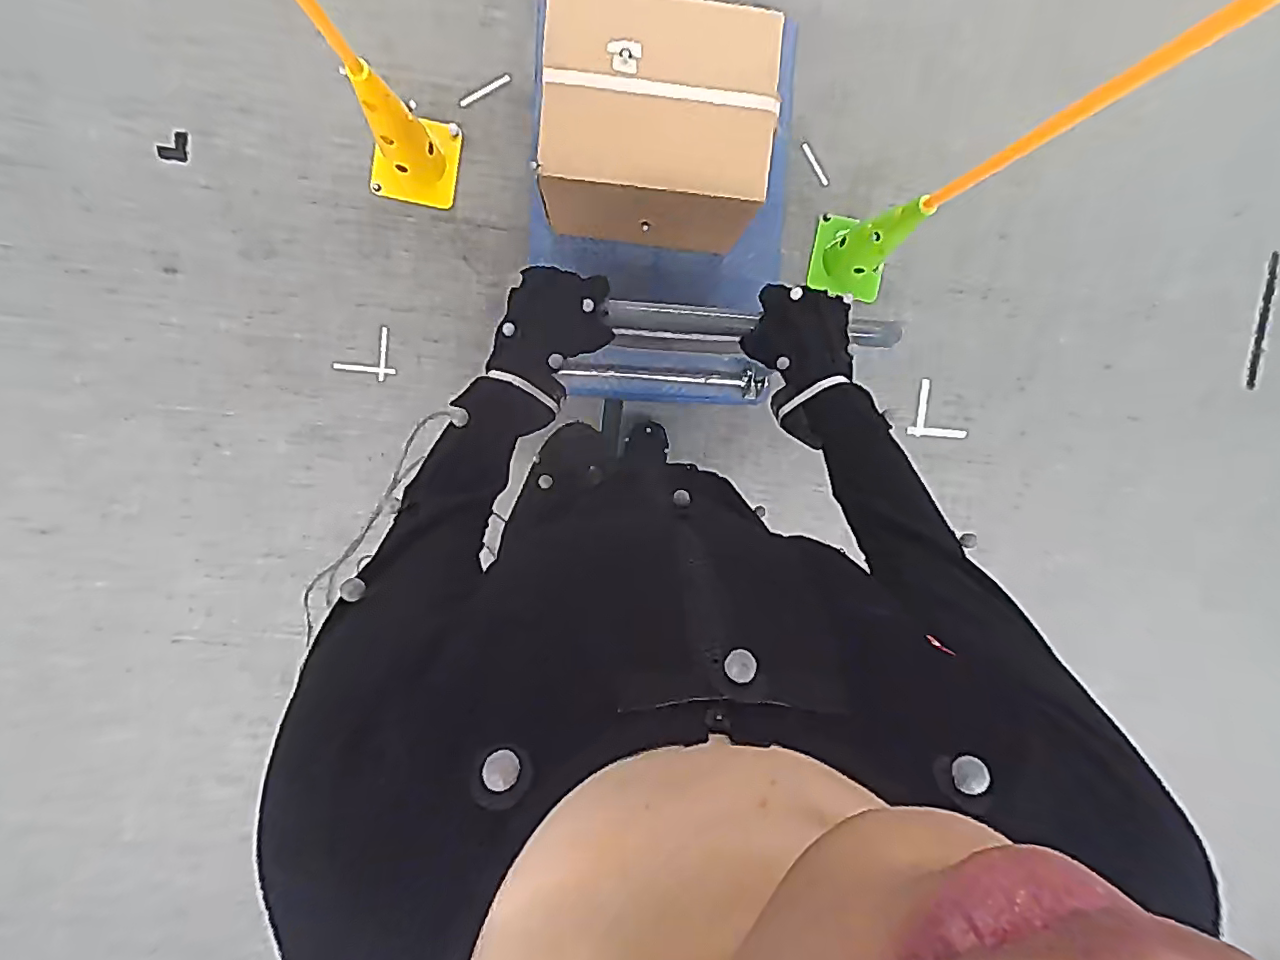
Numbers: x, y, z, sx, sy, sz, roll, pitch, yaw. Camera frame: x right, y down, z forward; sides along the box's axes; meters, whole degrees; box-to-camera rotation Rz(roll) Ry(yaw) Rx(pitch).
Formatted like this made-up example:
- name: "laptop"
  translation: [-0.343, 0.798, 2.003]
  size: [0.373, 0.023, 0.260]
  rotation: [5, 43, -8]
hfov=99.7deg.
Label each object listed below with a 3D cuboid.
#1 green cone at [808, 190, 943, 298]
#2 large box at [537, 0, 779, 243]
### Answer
- name: "green cone"
  translation: [0.575, -0.585, 1.274]
  size: [0.202, 0.368, 0.200]
  rotation: [10, 95, -7]
- name: "large box"
  translation: [0.024, -0.686, 1.072]
  size: [0.408, 0.320, 0.320]
  rotation: [5, 96, -4]
